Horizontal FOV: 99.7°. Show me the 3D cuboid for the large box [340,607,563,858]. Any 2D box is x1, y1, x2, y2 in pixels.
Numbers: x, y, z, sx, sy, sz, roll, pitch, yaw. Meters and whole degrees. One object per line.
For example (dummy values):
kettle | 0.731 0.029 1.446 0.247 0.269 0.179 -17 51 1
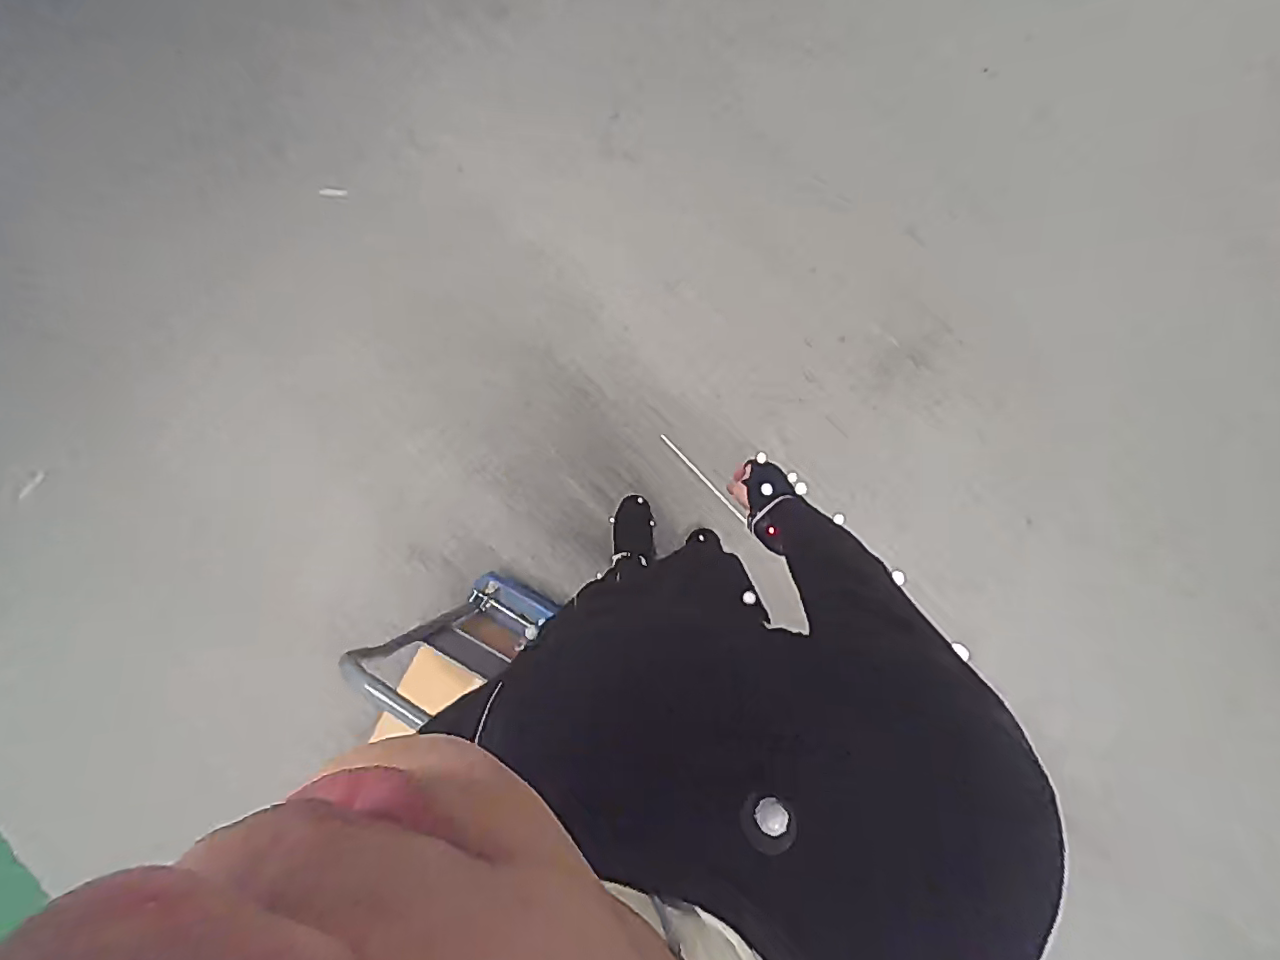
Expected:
large box | -0.441 0.592 1.347 0.320 0.320 0.408 30 92 5
